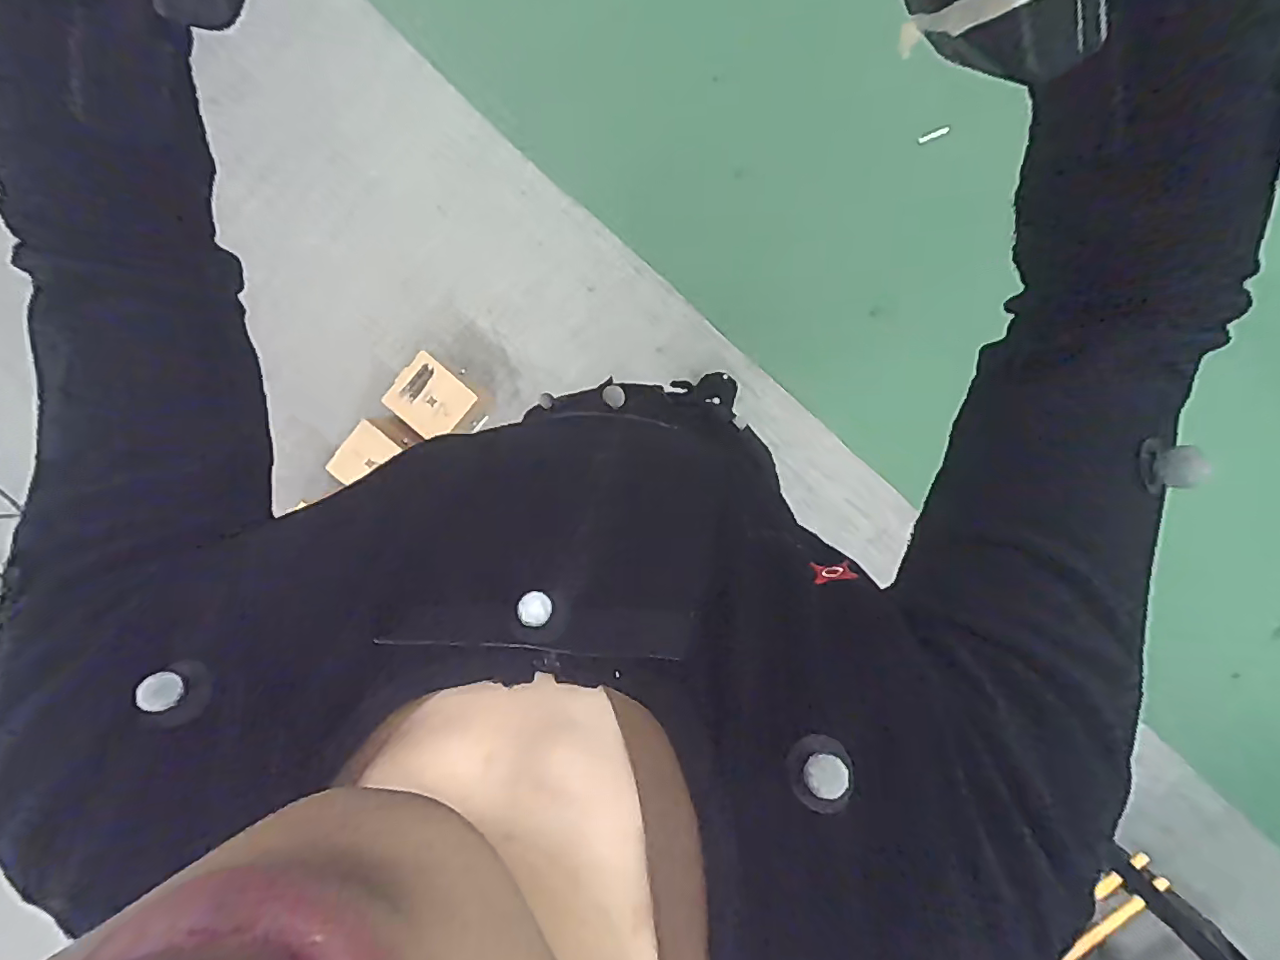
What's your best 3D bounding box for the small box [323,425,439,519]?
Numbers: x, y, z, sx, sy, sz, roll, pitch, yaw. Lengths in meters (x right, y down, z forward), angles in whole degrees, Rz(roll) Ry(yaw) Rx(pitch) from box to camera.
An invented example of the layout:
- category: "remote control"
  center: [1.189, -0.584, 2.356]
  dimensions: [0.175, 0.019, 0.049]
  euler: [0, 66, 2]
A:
- category: "small box"
  center: [-0.656, -0.031, 1.393]
  dimensions: [0.179, 0.176, 0.168]
  euler: [41, 98, -4]
